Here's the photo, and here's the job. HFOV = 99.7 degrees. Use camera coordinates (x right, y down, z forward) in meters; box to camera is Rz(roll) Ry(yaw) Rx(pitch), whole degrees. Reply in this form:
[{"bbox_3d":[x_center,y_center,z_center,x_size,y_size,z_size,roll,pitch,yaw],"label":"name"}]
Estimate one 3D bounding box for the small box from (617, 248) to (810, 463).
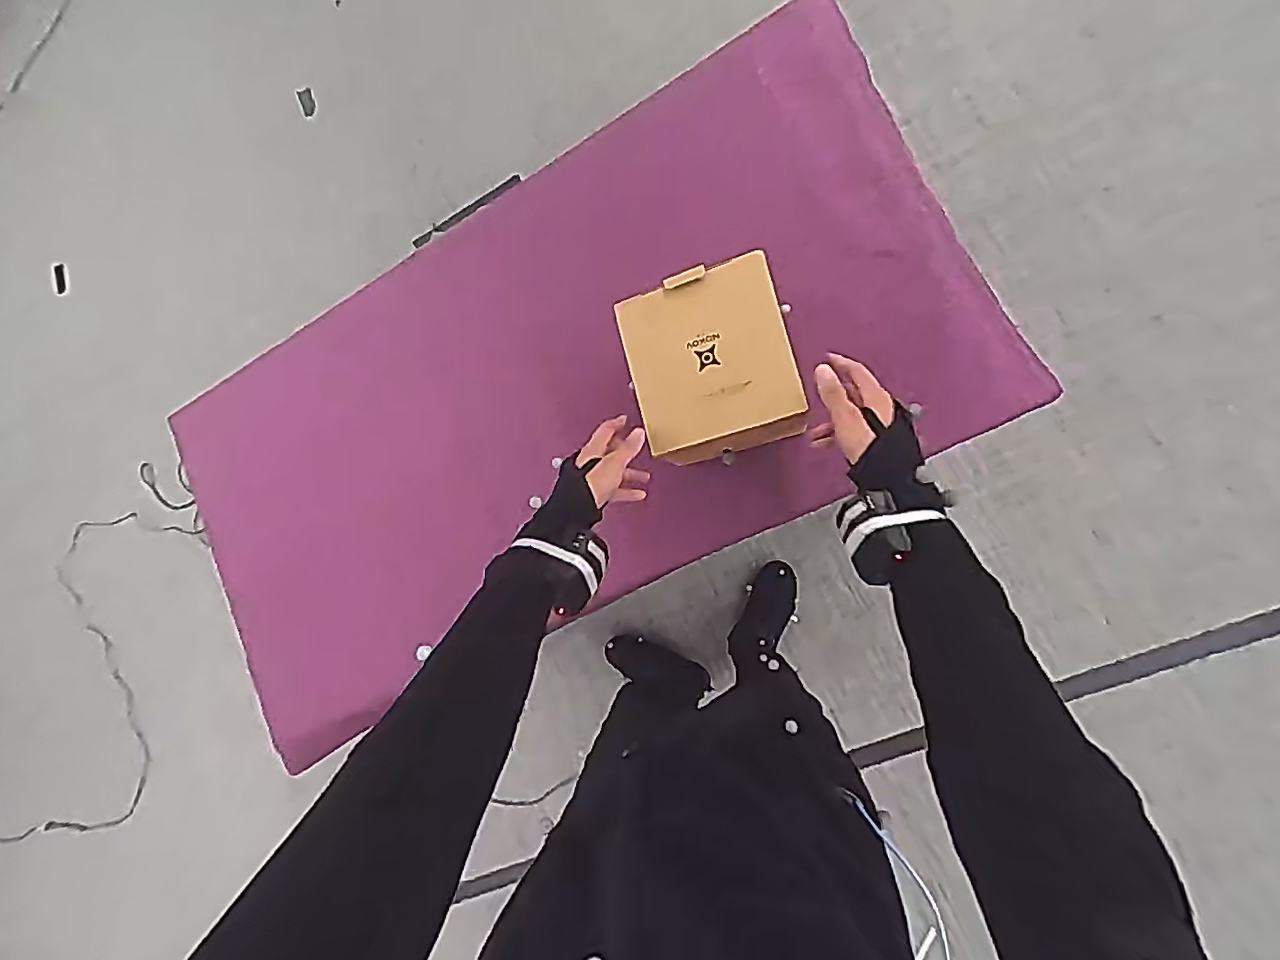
[{"bbox_3d":[0.090,-0.126,0.624,0.168,0.176,0.179,-15,84,15],"label":"small box"}]
